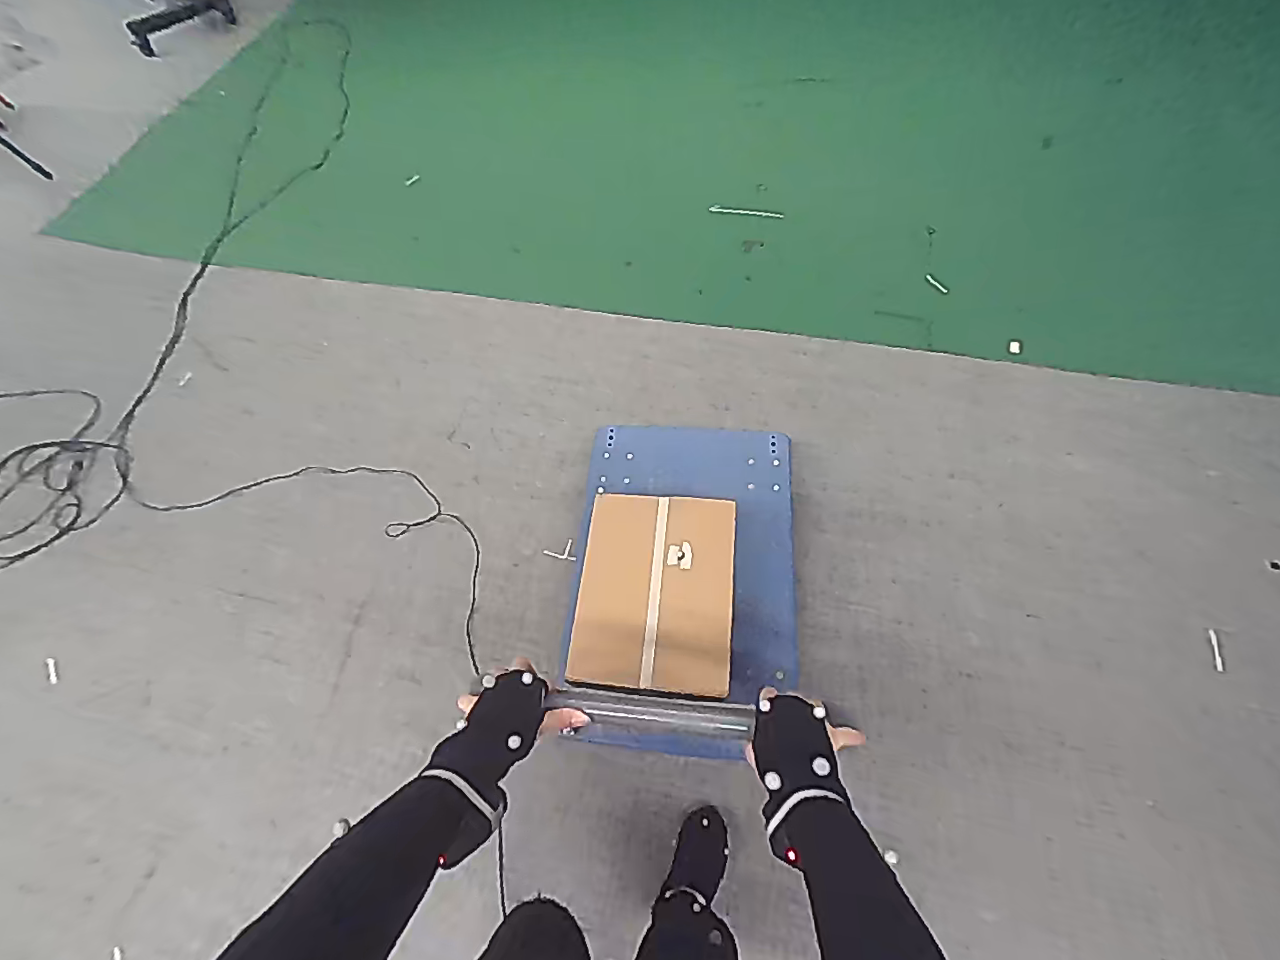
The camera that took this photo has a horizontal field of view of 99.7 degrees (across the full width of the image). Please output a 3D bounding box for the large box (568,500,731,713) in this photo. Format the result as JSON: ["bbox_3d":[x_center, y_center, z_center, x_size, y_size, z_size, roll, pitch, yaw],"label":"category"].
[{"bbox_3d":[0.043,0.296,1.240,0.320,0.320,0.408,3,61,7],"label":"large box"}]
